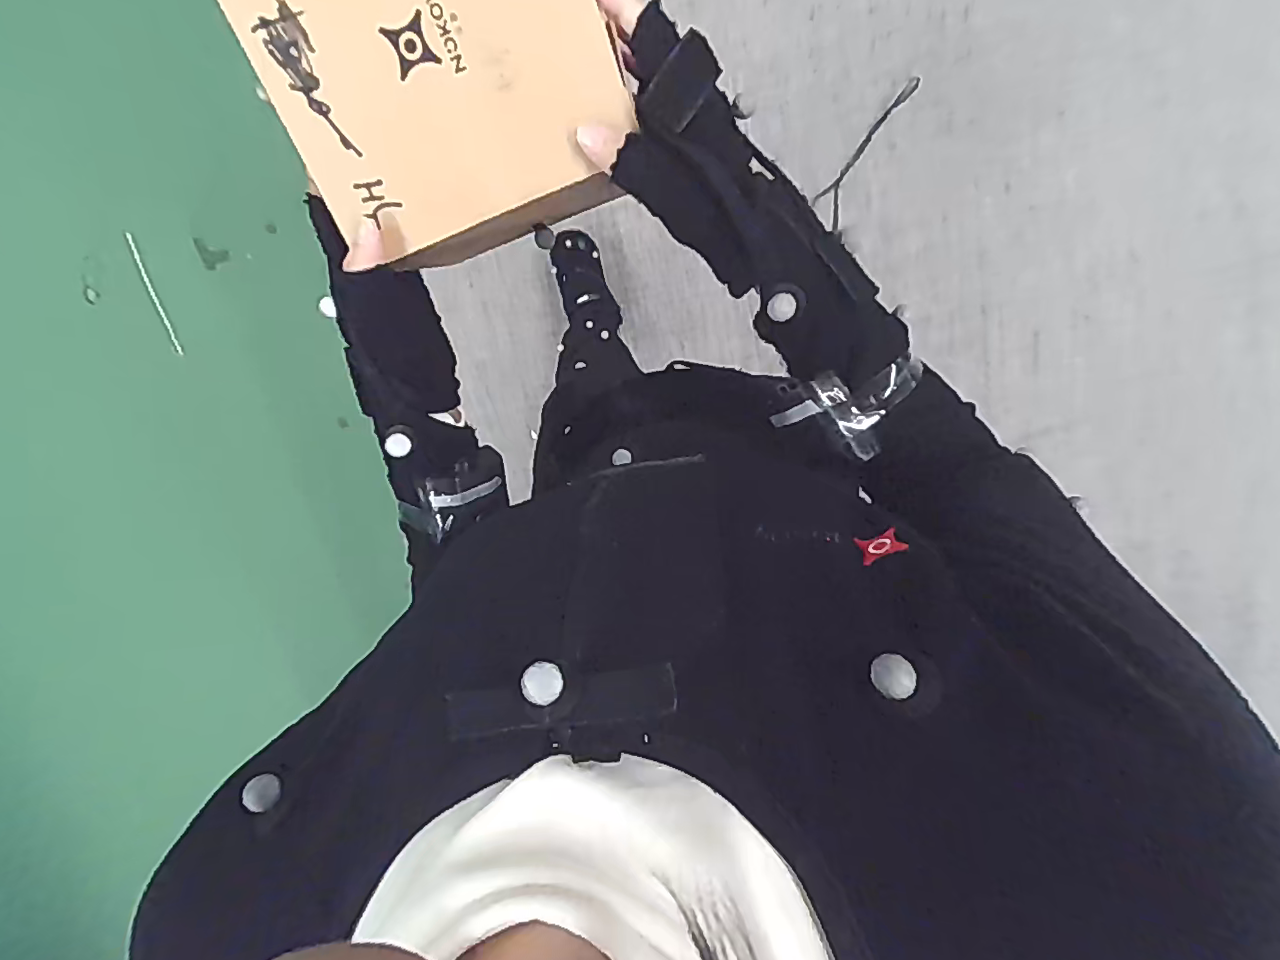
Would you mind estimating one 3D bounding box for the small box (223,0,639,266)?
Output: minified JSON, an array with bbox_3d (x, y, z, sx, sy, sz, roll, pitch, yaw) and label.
[{"bbox_3d":[-0.109,-0.251,0.347,0.179,0.176,0.168,-18,111,7],"label":"small box"}]
